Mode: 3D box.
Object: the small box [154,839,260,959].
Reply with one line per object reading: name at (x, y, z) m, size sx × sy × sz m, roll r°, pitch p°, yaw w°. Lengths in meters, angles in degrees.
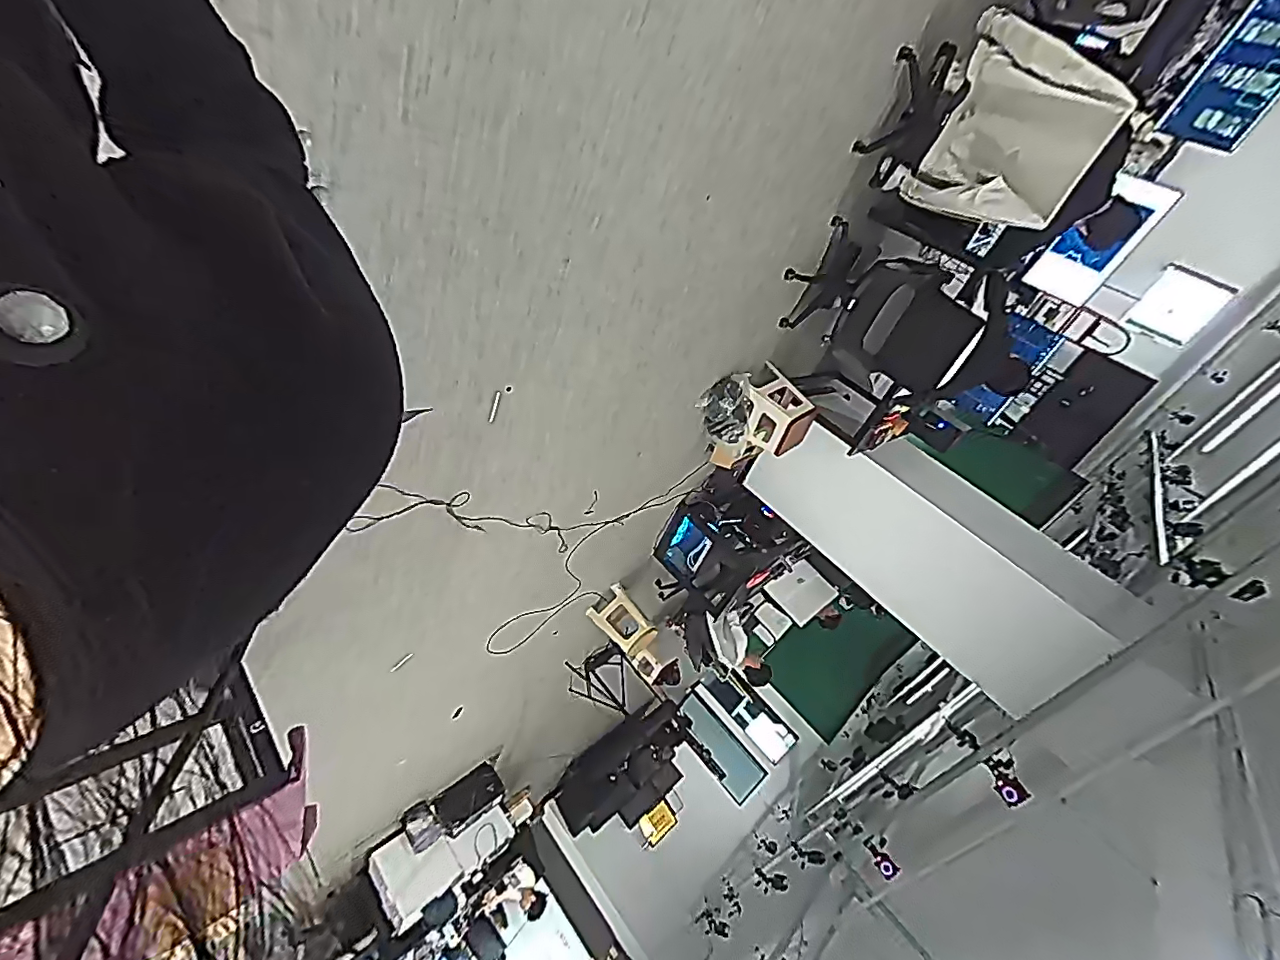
small box at (-1.091, 1.063, 1.363) m, size 0.179 × 0.176 × 0.168 m, roll -19°, pitch 145°, yaw -44°
